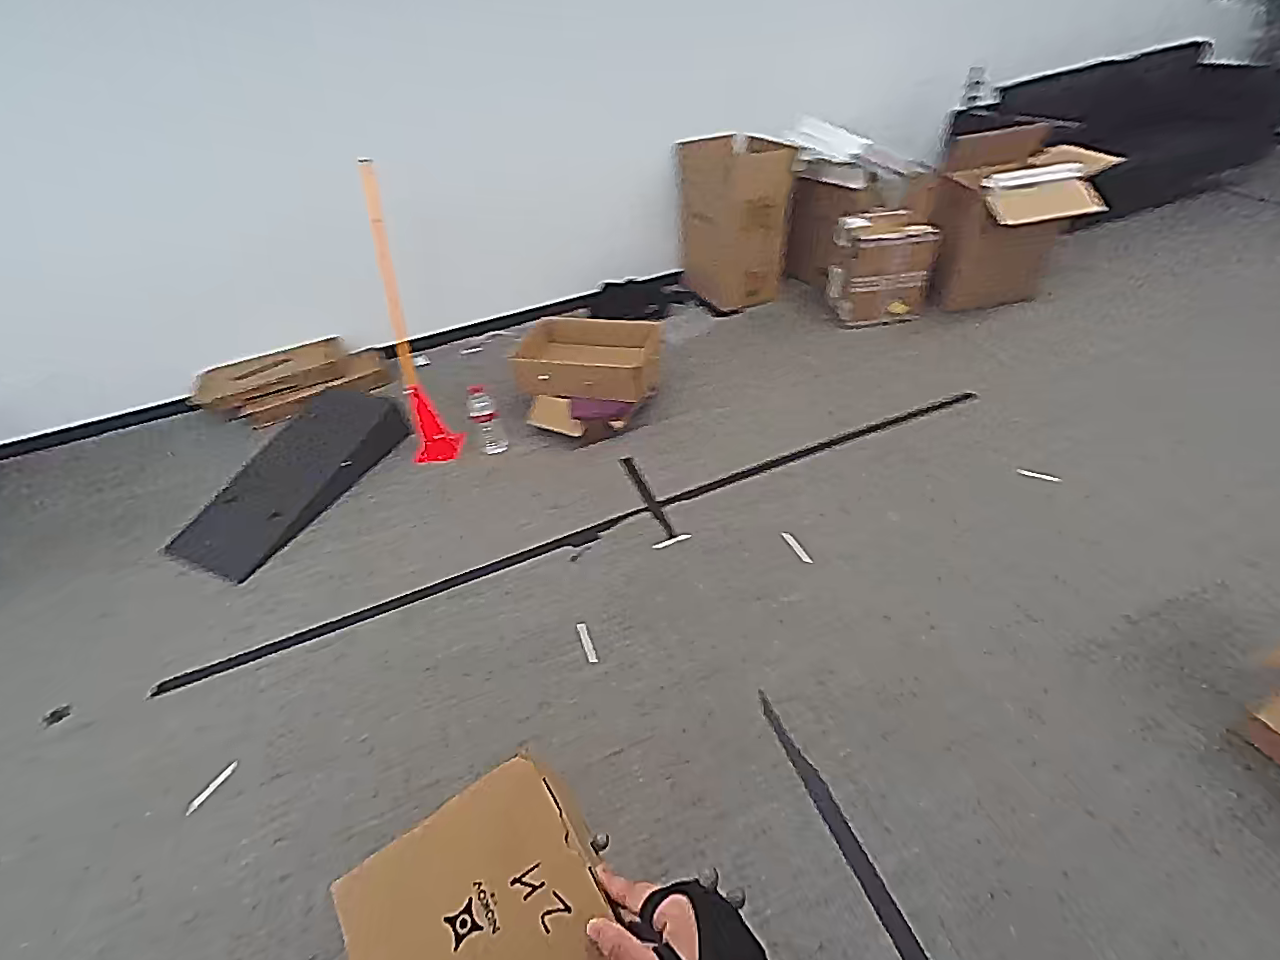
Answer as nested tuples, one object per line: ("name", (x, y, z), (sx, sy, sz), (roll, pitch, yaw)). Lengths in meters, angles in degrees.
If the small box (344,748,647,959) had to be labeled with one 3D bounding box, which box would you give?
("small box", (-0.107, 0.368, 0.459), (0.179, 0.176, 0.168), (-29, 57, -17))
